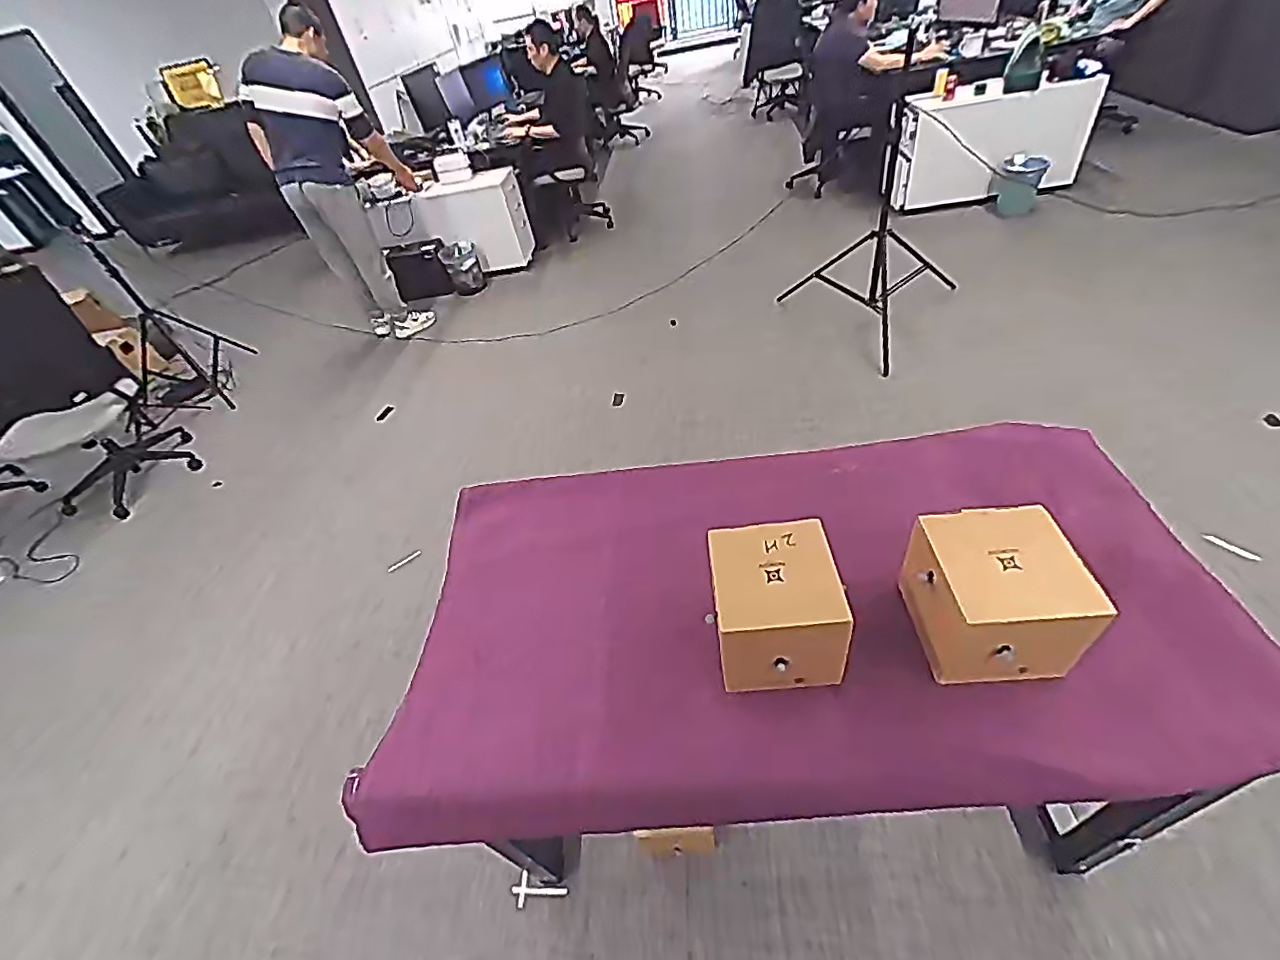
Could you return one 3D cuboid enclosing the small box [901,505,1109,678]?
[{"bbox_3d":[0.483,0.161,0.751,0.168,0.176,0.179,-6,43,7],"label":"small box"}]

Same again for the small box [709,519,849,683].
[{"bbox_3d":[0.195,0.183,0.793,0.168,0.176,0.179,-6,42,6],"label":"small box"}]
